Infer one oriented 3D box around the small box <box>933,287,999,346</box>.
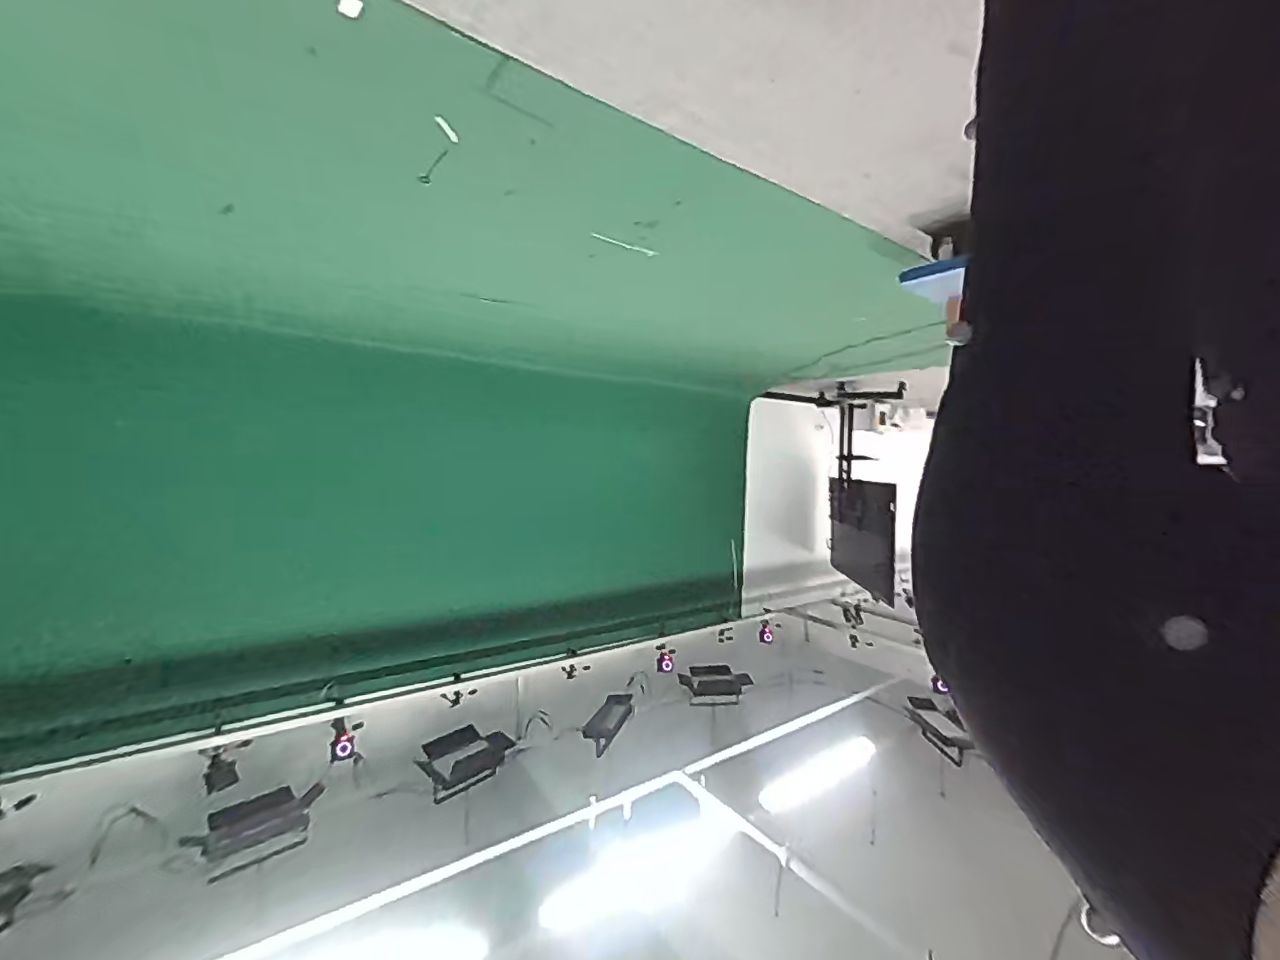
[{"bbox_3d":[1.223,-0.612,2.028,0.168,0.176,0.179,1,-178,-39],"label":"small box"}]
